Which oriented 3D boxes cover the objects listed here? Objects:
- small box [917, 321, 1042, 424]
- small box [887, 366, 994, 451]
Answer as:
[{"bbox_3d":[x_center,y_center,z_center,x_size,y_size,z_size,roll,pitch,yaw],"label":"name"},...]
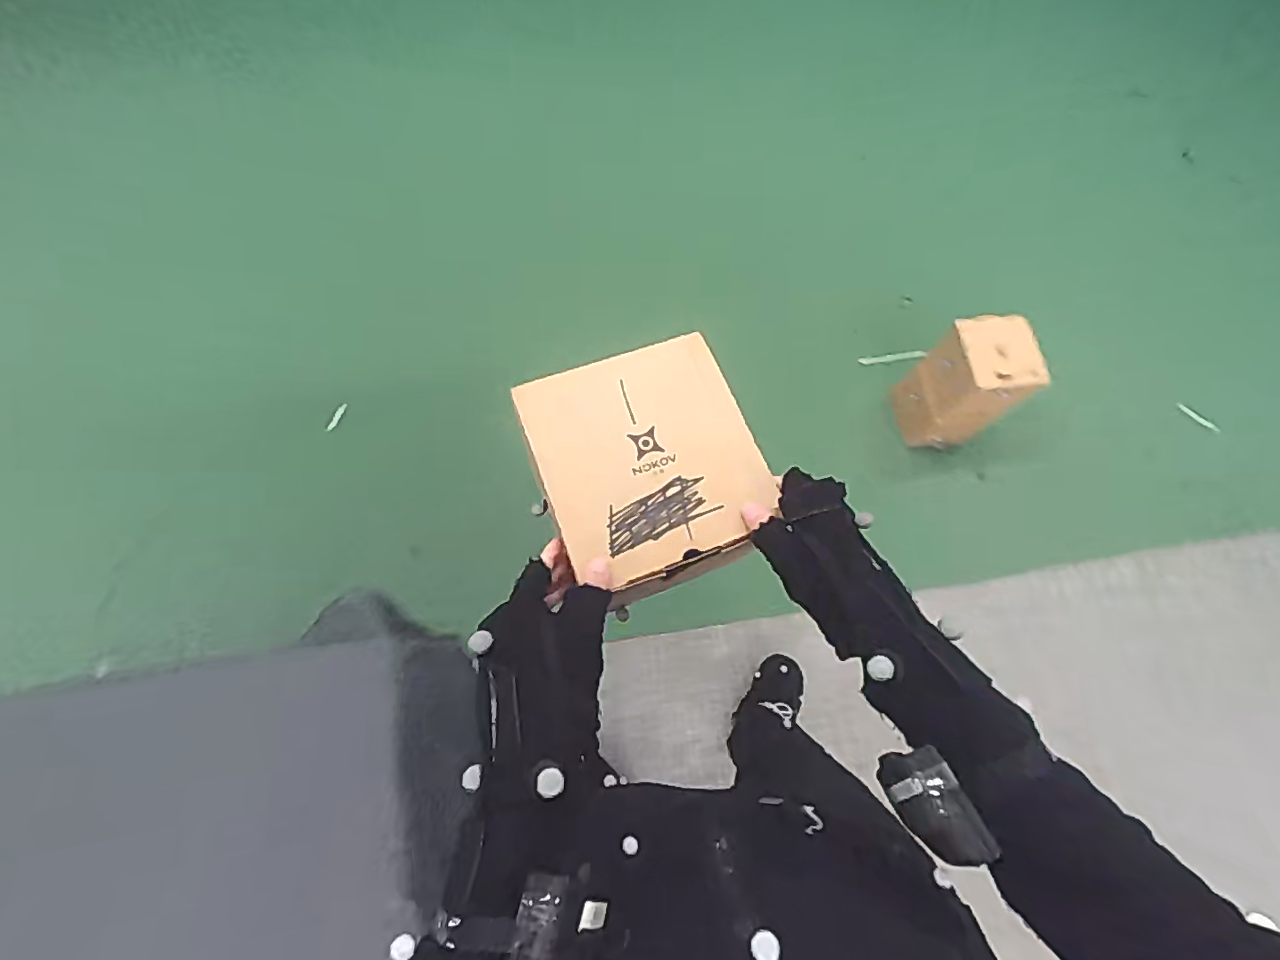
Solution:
[{"bbox_3d":[0.797,-0.253,1.291,0.168,0.176,0.179,-6,70,-3],"label":"small box"},{"bbox_3d":[0.790,-0.193,1.444,0.168,0.176,0.179,-7,72,-3],"label":"small box"}]
